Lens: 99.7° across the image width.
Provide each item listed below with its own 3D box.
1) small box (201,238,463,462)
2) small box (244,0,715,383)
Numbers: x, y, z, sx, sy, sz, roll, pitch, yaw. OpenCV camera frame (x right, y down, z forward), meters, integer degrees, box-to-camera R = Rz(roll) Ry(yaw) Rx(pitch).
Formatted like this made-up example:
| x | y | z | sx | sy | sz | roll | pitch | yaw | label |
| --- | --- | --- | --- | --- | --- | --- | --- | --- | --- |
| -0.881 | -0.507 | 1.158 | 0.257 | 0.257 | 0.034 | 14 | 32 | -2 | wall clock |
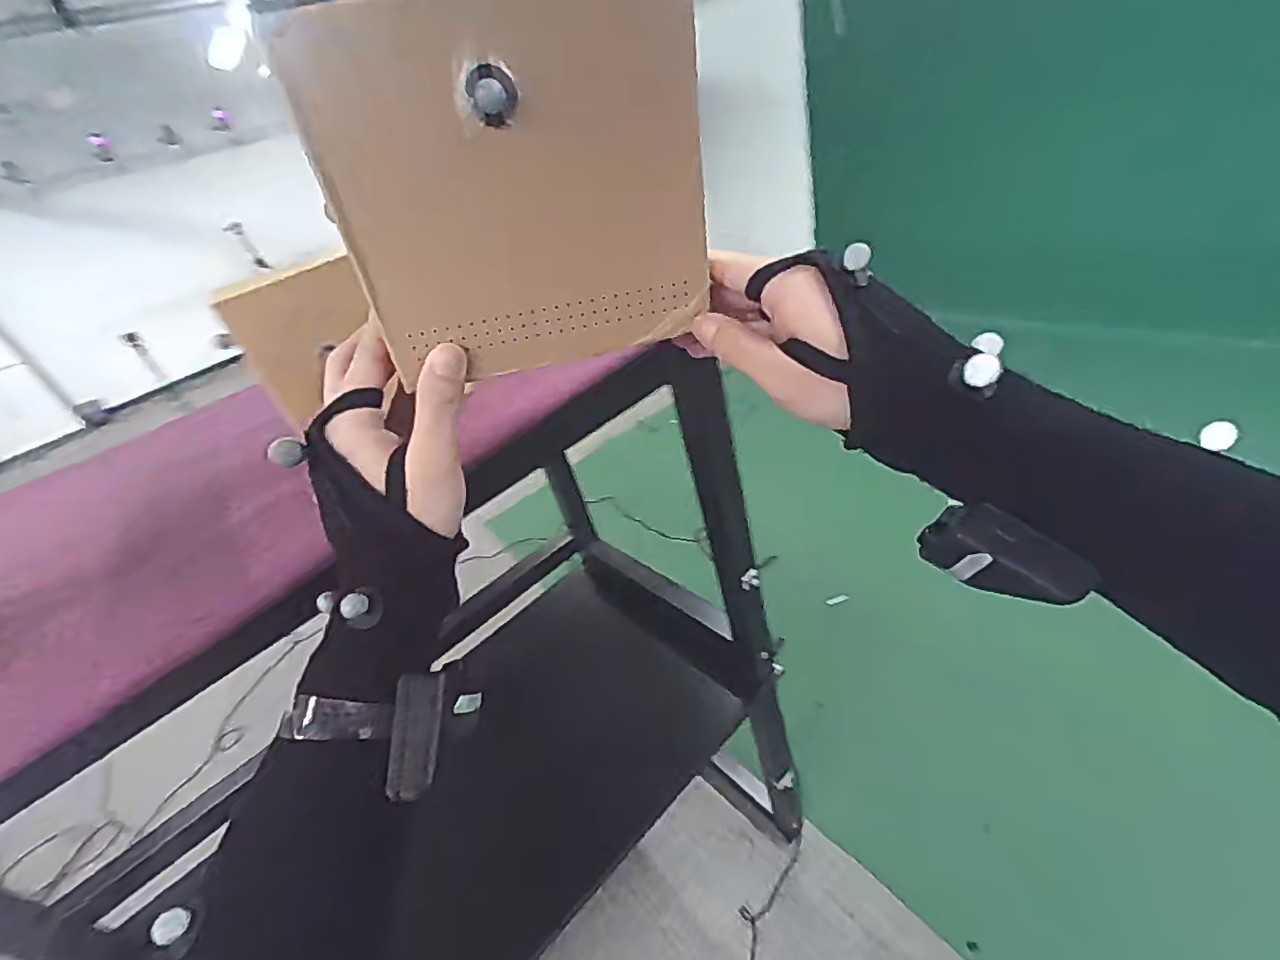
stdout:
| x | y | z | sx | sy | sz | roll | pitch | yaw | label |
| --- | --- | --- | --- | --- | --- | --- | --- | --- | --- |
| -0.316 | -0.140 | 0.570 | 0.168 | 0.176 | 0.179 | -35 | 36 | -23 | small box |
| -0.065 | -0.172 | 0.314 | 0.179 | 0.176 | 0.168 | -13 | 36 | -3 | small box |
